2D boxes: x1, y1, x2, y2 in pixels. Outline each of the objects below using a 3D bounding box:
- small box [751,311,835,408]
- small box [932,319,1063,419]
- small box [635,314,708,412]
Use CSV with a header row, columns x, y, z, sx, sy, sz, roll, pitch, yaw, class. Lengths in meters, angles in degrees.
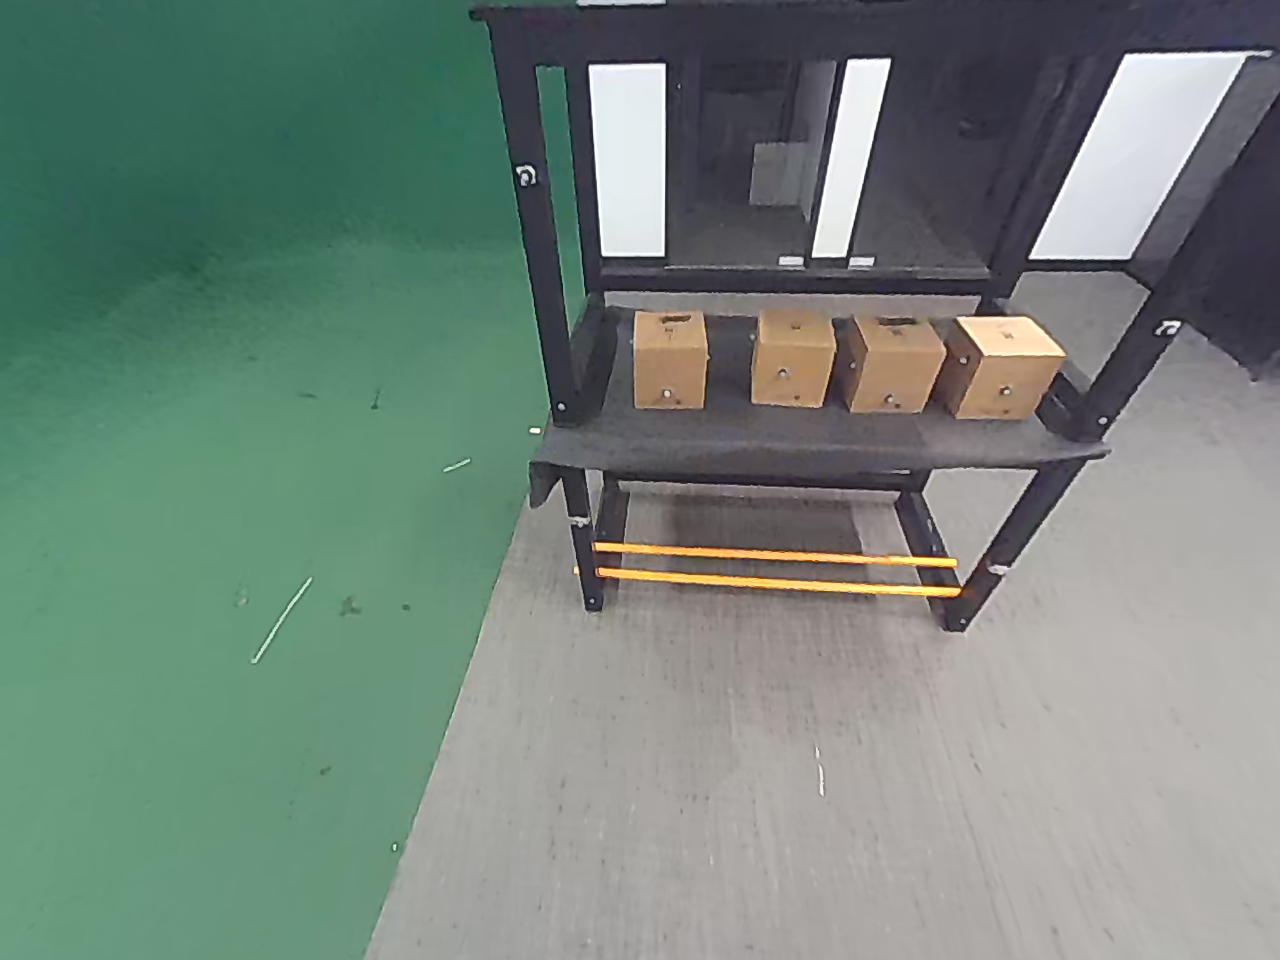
x,y,z,sx,sy,sz,roll,pitch,yaw,class
0.361,-0.288,1.298,0.168,0.176,0.179,5,43,7,small box
0.804,-0.252,1.238,0.168,0.176,0.179,1,42,3,small box
0.072,-0.282,1.300,0.168,0.176,0.179,0,44,2,small box
